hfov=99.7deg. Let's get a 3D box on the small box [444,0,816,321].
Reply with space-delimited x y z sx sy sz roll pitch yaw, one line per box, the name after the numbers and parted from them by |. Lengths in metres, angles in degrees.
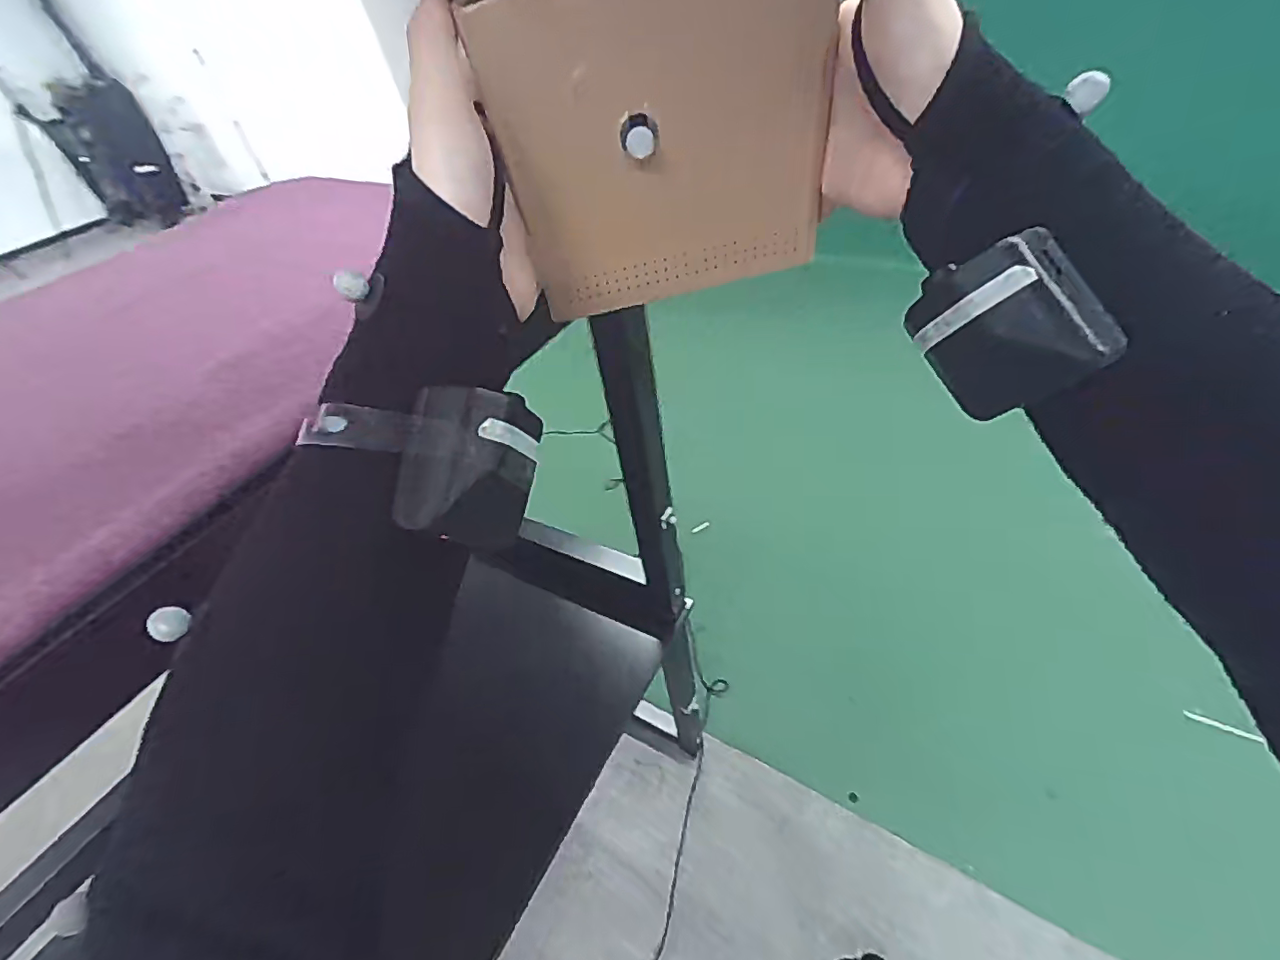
0.001 -0.227 0.341 0.179 0.176 0.168 -14 53 2 | small box
